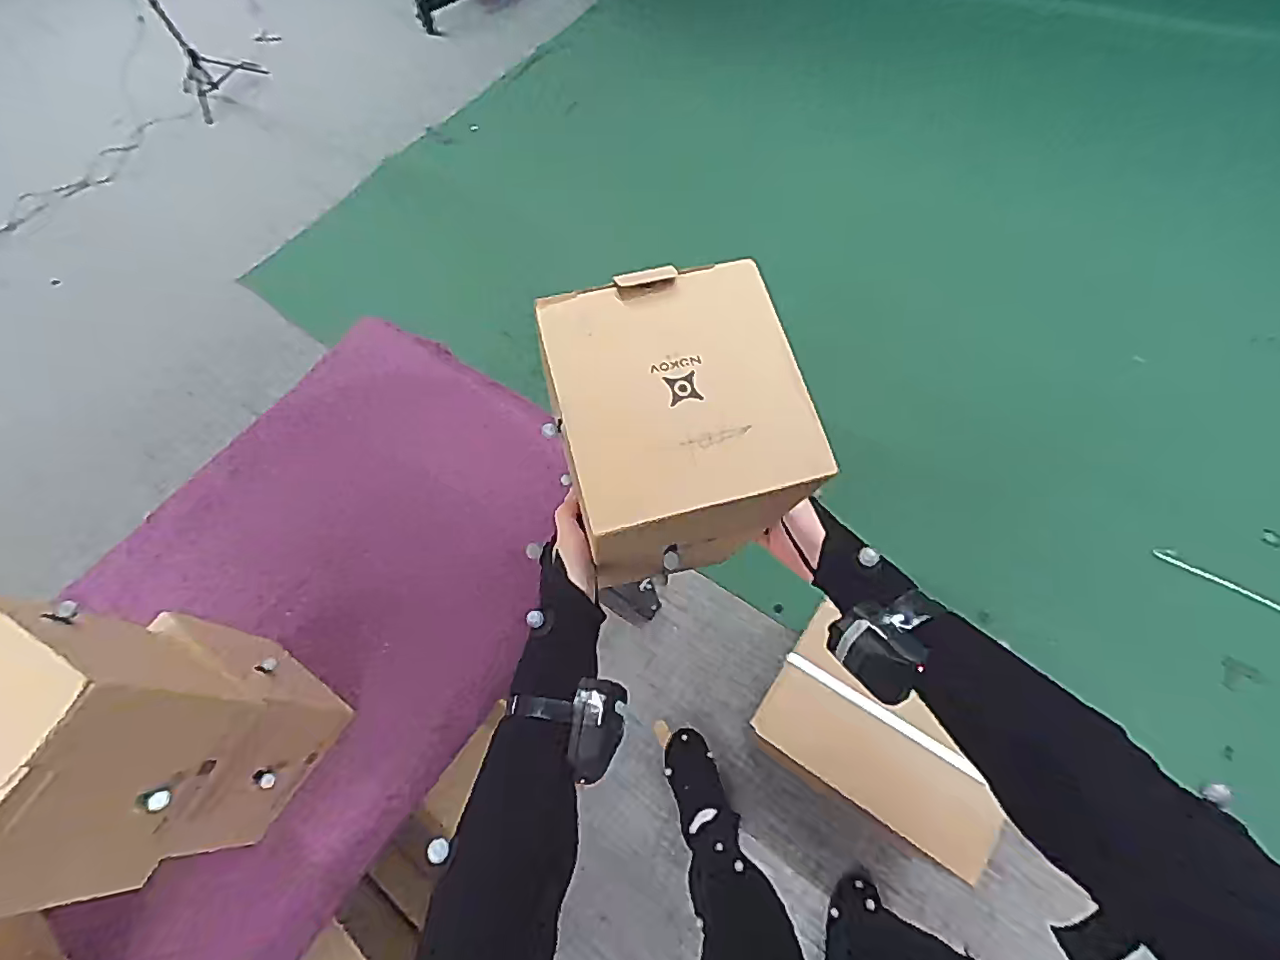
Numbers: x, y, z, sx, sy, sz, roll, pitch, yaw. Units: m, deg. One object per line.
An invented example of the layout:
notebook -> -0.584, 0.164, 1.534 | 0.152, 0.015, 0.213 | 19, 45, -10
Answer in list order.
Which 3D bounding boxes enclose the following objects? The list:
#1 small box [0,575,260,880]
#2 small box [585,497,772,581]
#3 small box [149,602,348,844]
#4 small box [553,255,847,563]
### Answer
small box -> -0.485, 0.206, 0.454 | 0.179, 0.176, 0.168 | 21, 68, 18
small box -> 0.023, 0.002, 0.592 | 0.168, 0.176, 0.179 | -9, 74, -7
small box -> -0.479, 0.268, 0.609 | 0.179, 0.176, 0.168 | 27, 69, 20
small box -> 0.030, -0.045, 0.436 | 0.168, 0.176, 0.179 | -12, 74, -7
